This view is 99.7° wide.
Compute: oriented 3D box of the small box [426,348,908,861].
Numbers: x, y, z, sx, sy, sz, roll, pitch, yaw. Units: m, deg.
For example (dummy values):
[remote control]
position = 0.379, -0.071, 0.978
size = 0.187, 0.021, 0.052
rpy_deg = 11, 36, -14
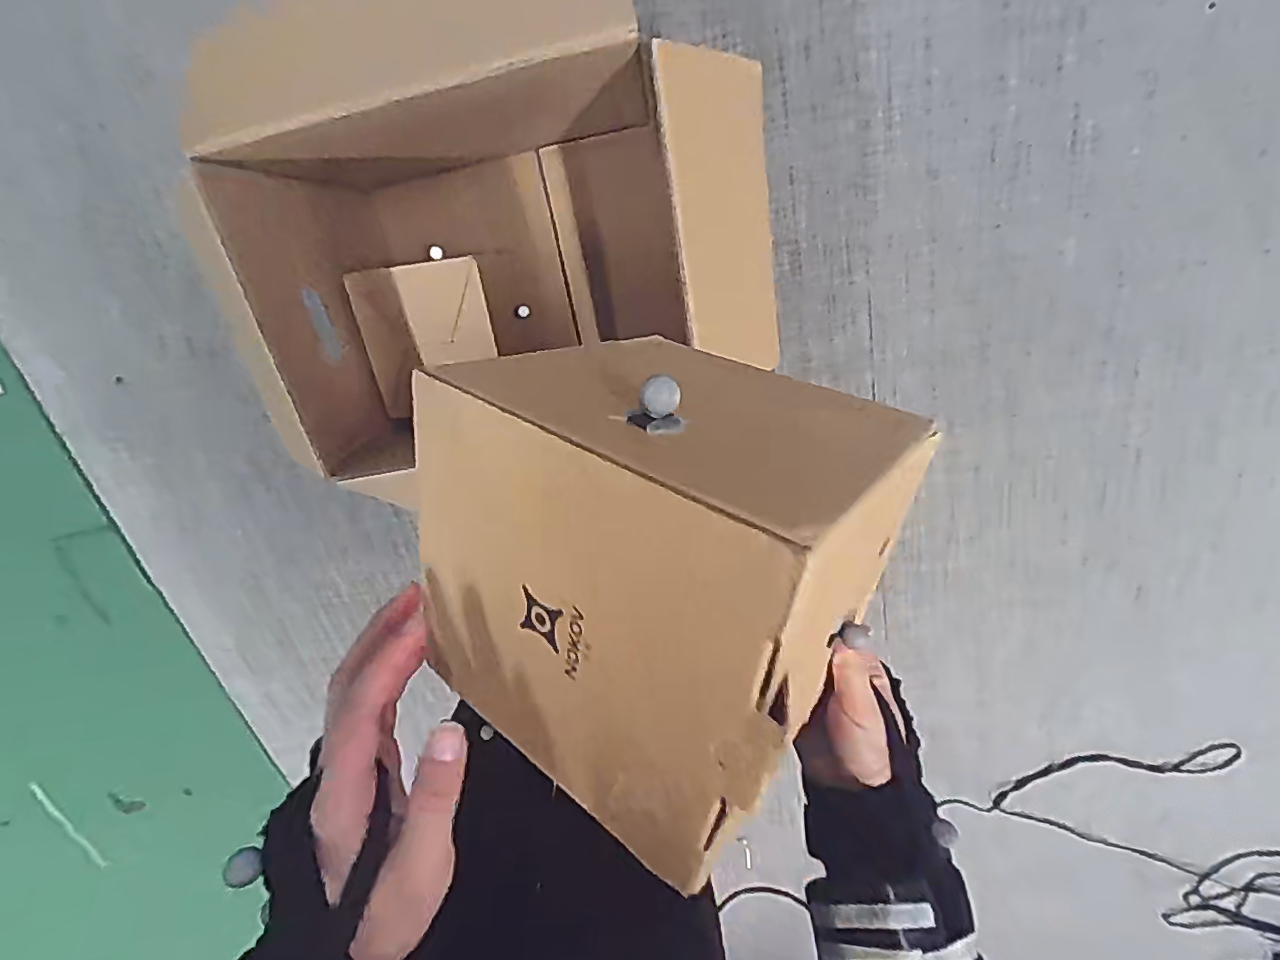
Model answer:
[small box]
position = 0.011, 0.031, 0.286
size = 0.179, 0.176, 0.168
rpy_deg = 25, 120, 30
